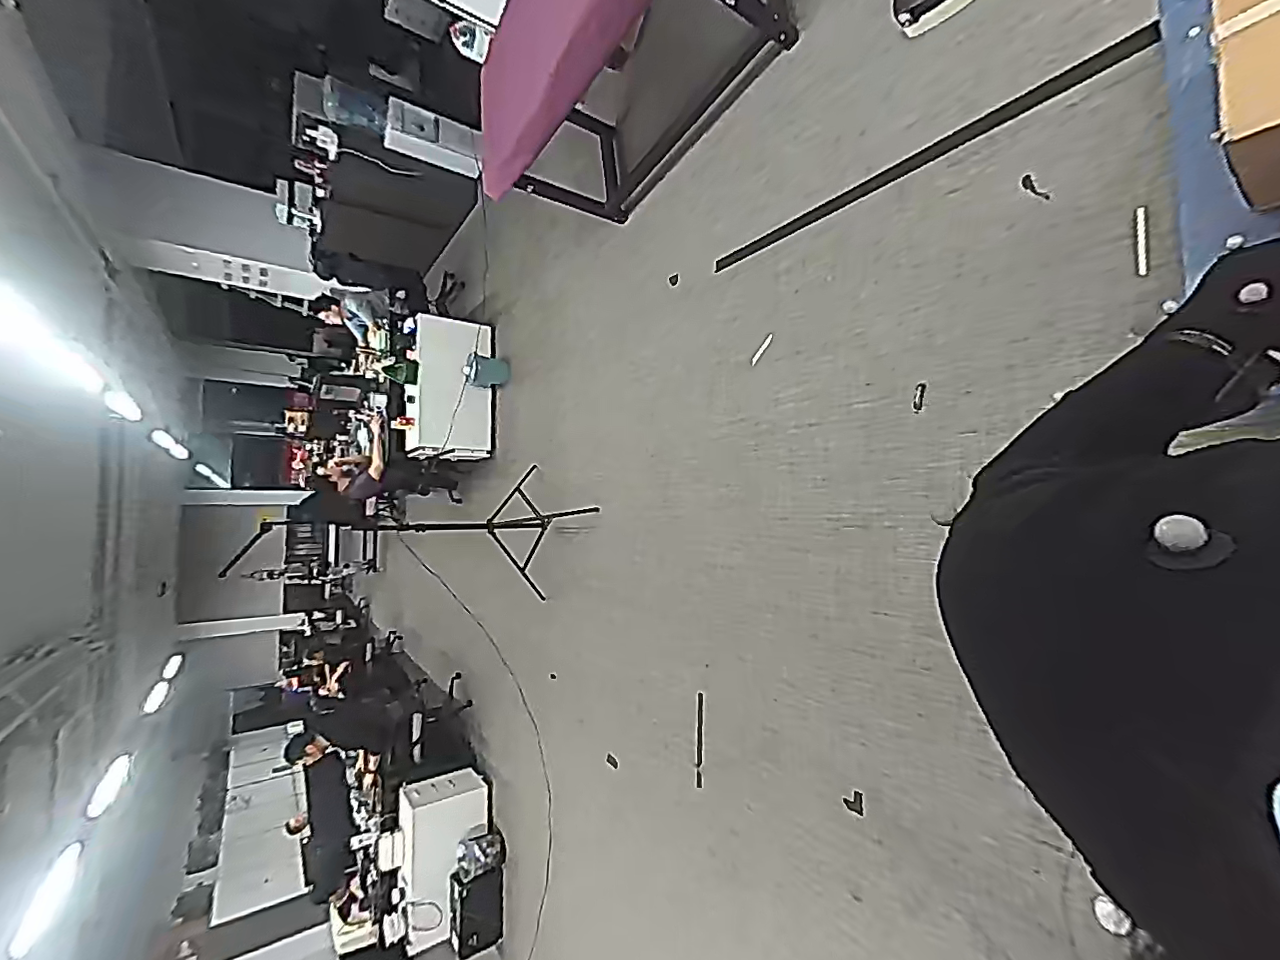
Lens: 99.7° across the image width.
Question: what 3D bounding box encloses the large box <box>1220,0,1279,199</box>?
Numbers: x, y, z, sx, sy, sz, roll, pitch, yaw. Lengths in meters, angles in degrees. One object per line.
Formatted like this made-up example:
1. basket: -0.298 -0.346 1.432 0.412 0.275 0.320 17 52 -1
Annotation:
1. large box: 1.050 -0.630 0.674 0.408 0.320 0.320 -4 85 56
